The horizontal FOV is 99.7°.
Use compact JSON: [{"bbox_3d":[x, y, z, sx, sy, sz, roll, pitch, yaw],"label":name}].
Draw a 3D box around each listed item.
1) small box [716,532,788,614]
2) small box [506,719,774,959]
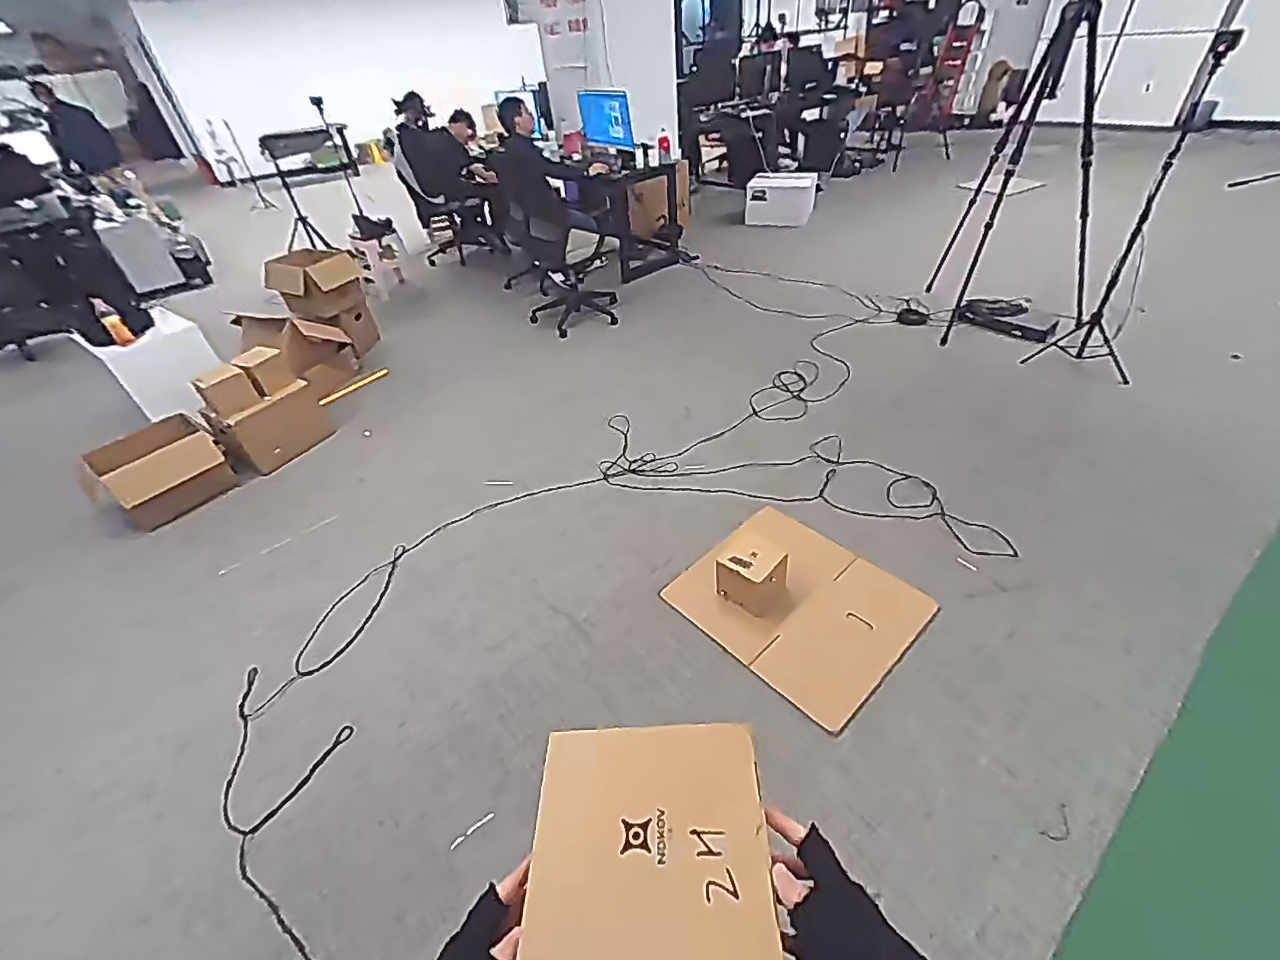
[{"bbox_3d":[0.372,0.311,1.795,0.168,0.176,0.179,27,50,35],"label":"small box"},{"bbox_3d":[0.011,0.321,0.448,0.179,0.176,0.168,-5,39,6],"label":"small box"}]
